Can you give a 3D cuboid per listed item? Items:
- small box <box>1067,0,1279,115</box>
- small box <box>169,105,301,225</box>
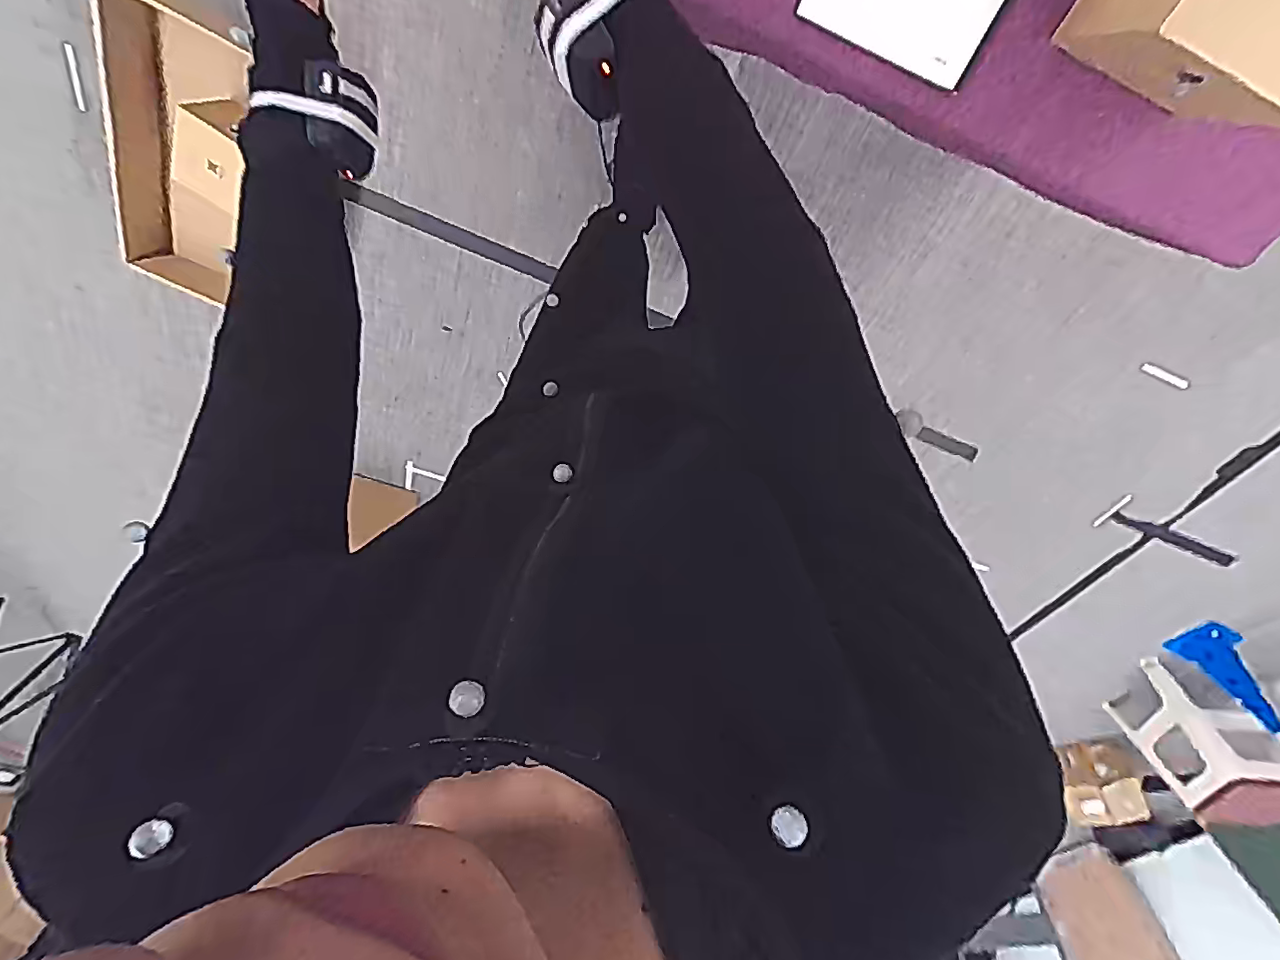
[{"bbox_3d":[0.517,-0.425,0.444,0.179,0.176,0.168,21,127,-9],"label":"small box"},{"bbox_3d":[-0.922,-0.728,1.240,0.179,0.176,0.168,31,125,-17],"label":"small box"}]
